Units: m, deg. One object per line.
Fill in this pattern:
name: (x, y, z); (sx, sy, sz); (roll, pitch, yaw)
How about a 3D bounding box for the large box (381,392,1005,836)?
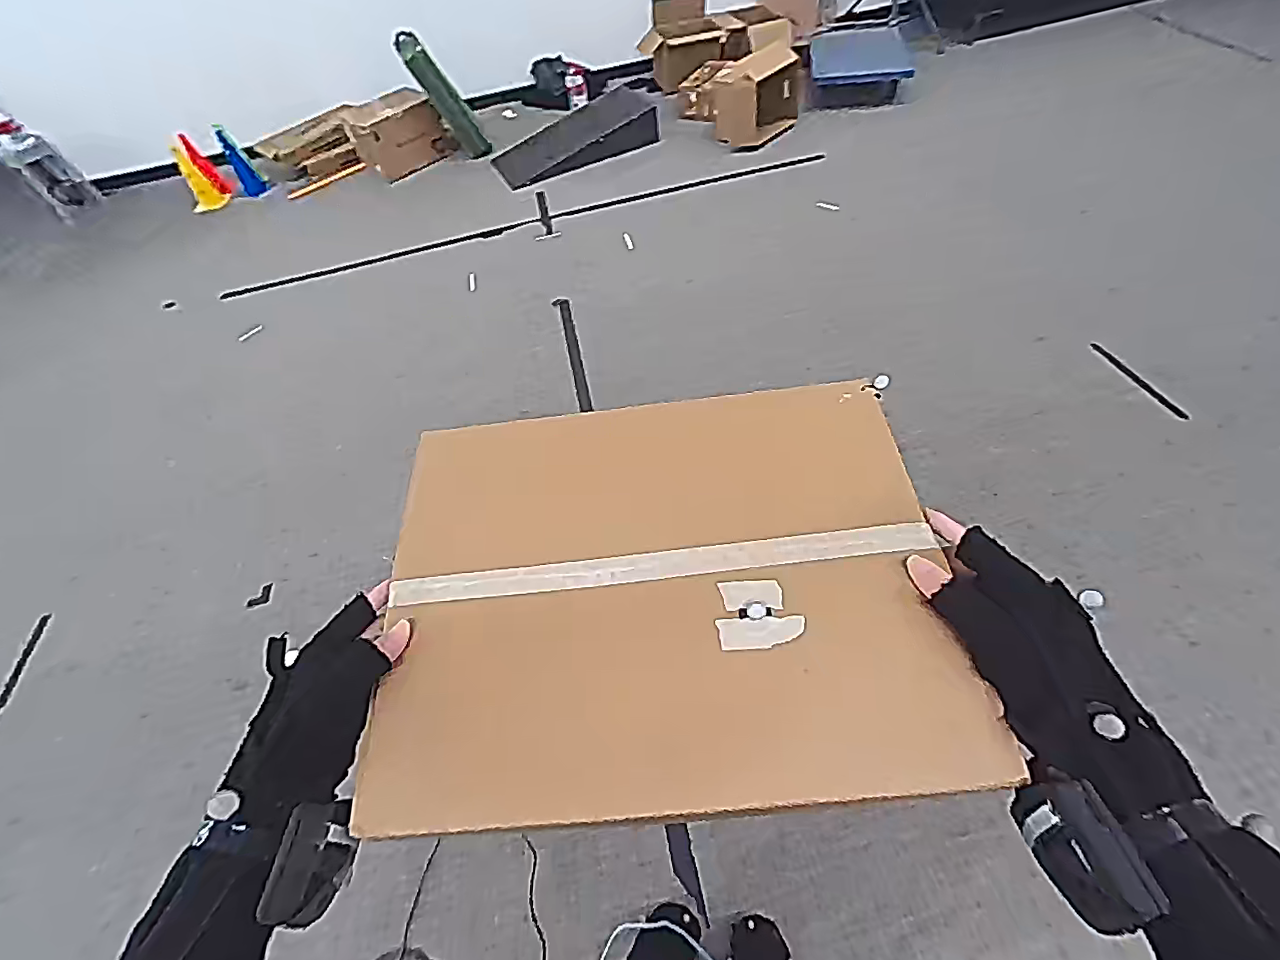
large box: (0.029, 0.151, 0.541); (0.408, 0.320, 0.320); (-7, 58, 2)
